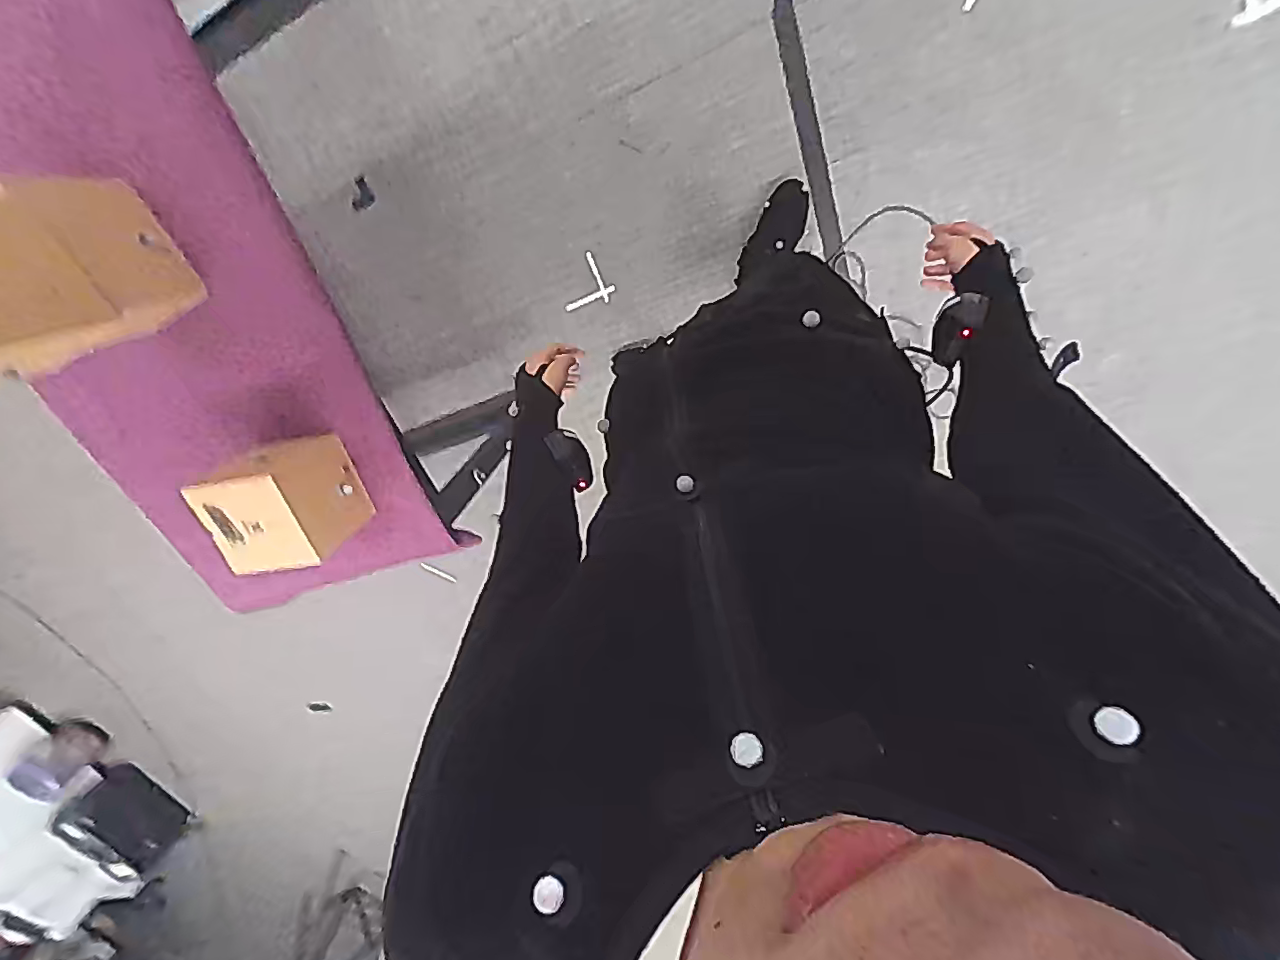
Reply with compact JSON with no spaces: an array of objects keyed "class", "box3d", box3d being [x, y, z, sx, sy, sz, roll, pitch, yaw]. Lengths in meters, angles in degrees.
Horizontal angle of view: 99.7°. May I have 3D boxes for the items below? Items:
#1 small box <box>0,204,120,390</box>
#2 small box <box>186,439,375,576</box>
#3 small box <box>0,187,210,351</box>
[{"class":"small box","box3d":[-0.801,-0.207,0.645,0.168,0.176,0.179,-19,113,18]},{"class":"small box","box3d":[-0.606,0.044,0.937,0.179,0.176,0.168,-8,116,12]},{"class":"small box","box3d":[-0.796,-0.297,0.783,0.168,0.176,0.179,-19,113,19]}]
